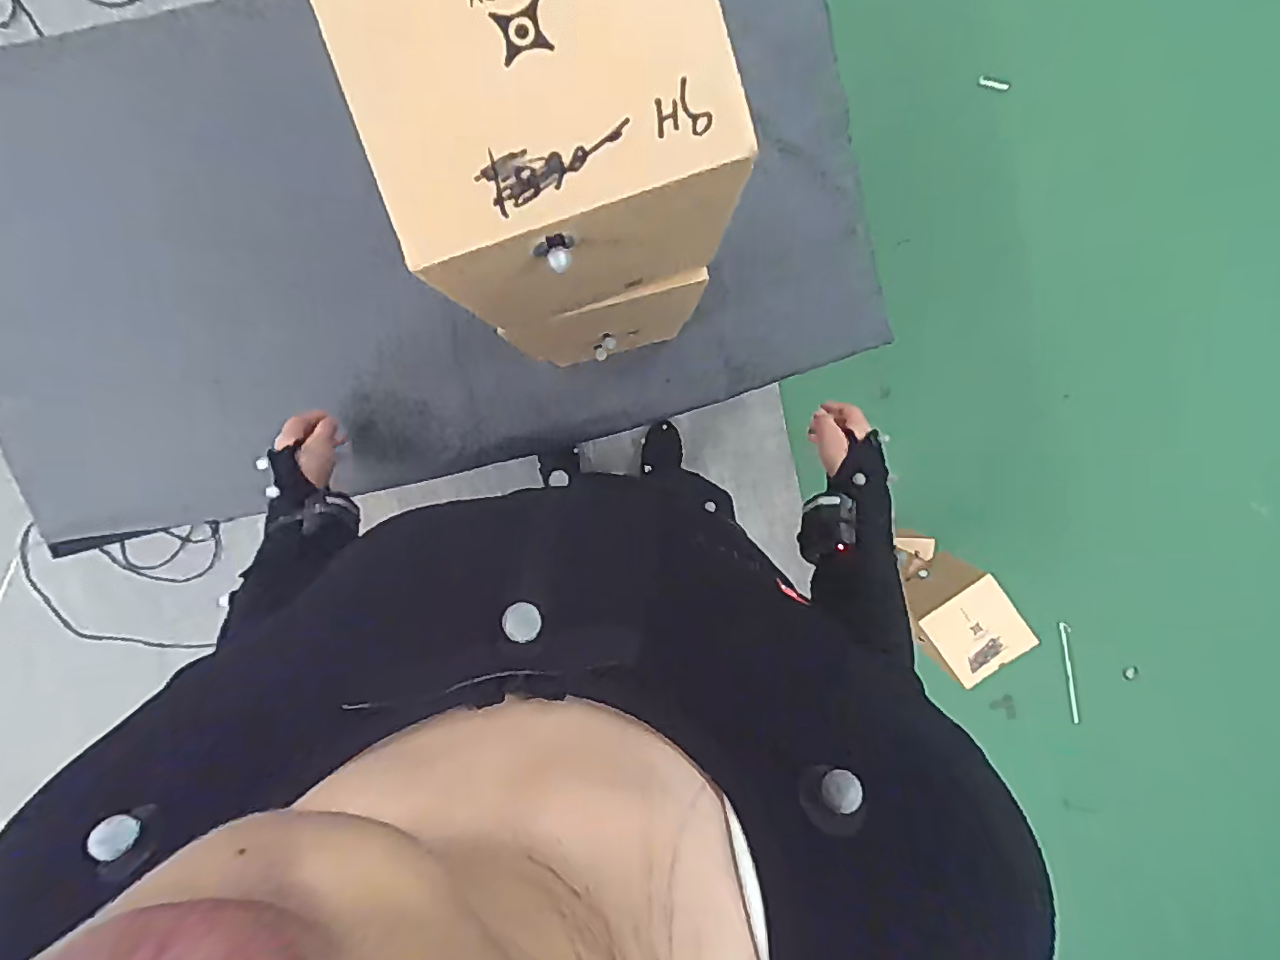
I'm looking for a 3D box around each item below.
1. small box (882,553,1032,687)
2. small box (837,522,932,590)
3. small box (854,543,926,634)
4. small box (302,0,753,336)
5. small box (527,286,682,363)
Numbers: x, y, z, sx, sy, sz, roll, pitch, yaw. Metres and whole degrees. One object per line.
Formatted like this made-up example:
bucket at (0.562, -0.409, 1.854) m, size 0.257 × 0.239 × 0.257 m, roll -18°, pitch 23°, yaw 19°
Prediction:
small box at (0.640, 0.279, 1.114) m, size 0.168 × 0.176 × 0.179 m, roll -37°, pitch 96°, yaw 6°
small box at (0.639, 0.210, 1.434) m, size 0.179 × 0.176 × 0.168 m, roll 2°, pitch 98°, yaw -1°
small box at (0.641, 0.264, 1.278) m, size 0.179 × 0.176 × 0.168 m, roll 23°, pitch 99°, yaw -4°
small box at (-0.054, -0.200, 0.305) m, size 0.168 × 0.176 × 0.179 m, roll -18°, pitch 96°, yaw 2°
small box at (-0.052, -0.240, 0.631) m, size 0.168 × 0.176 × 0.179 m, roll -14°, pitch 96°, yaw 1°
